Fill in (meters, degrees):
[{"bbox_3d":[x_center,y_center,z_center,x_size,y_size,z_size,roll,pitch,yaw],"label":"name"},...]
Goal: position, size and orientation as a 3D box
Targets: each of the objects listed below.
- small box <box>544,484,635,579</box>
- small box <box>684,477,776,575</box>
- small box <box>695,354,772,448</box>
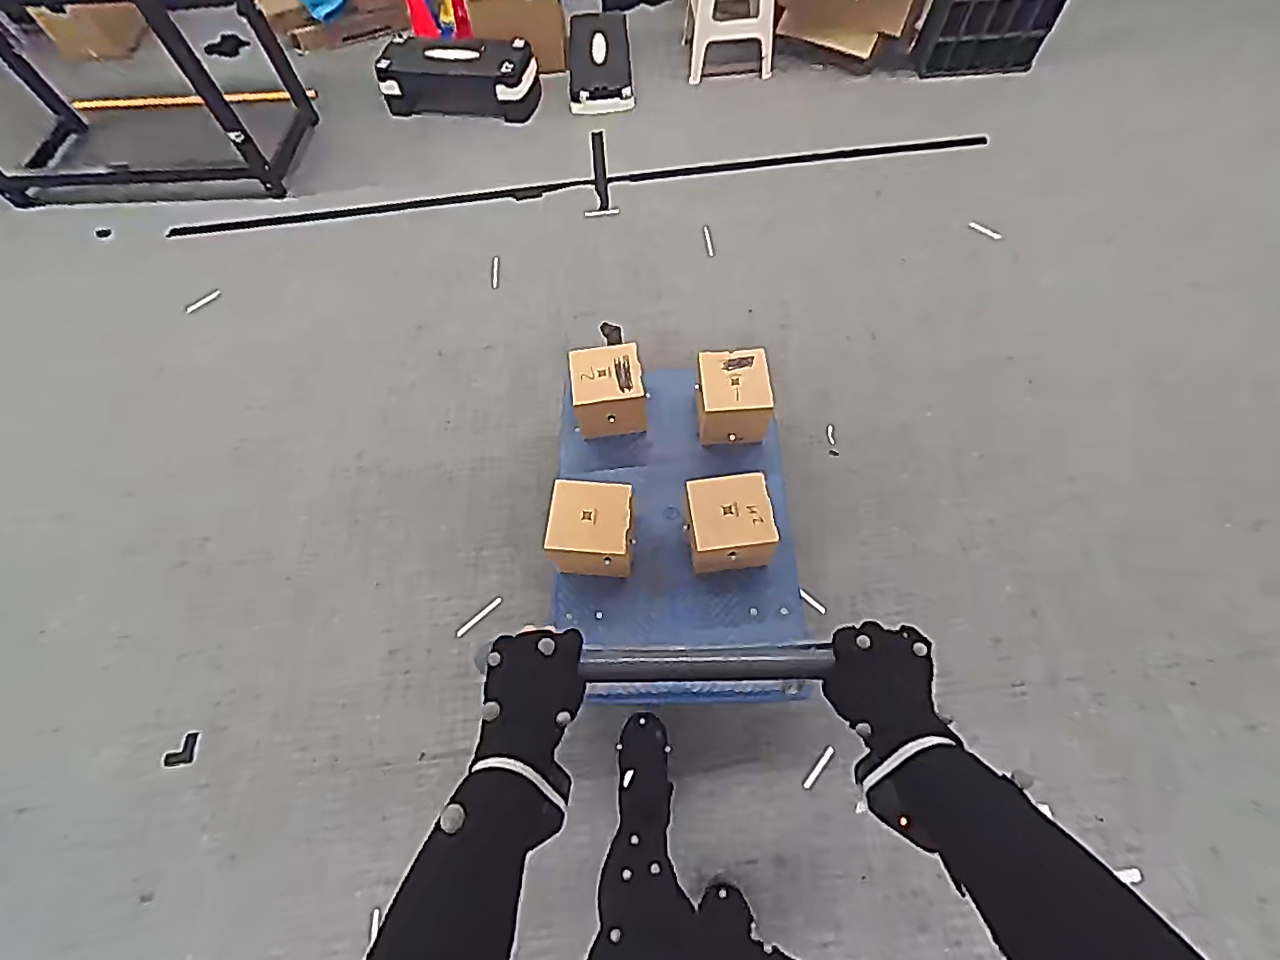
[{"bbox_3d":[-0.109,0.122,1.245,0.179,0.176,0.168,4,64,3],"label":"small box"},{"bbox_3d":[0.198,0.110,1.236,0.179,0.176,0.168,-7,64,0],"label":"small box"},{"bbox_3d":[0.232,-0.200,1.384,0.168,0.176,0.179,-3,65,2],"label":"small box"}]
